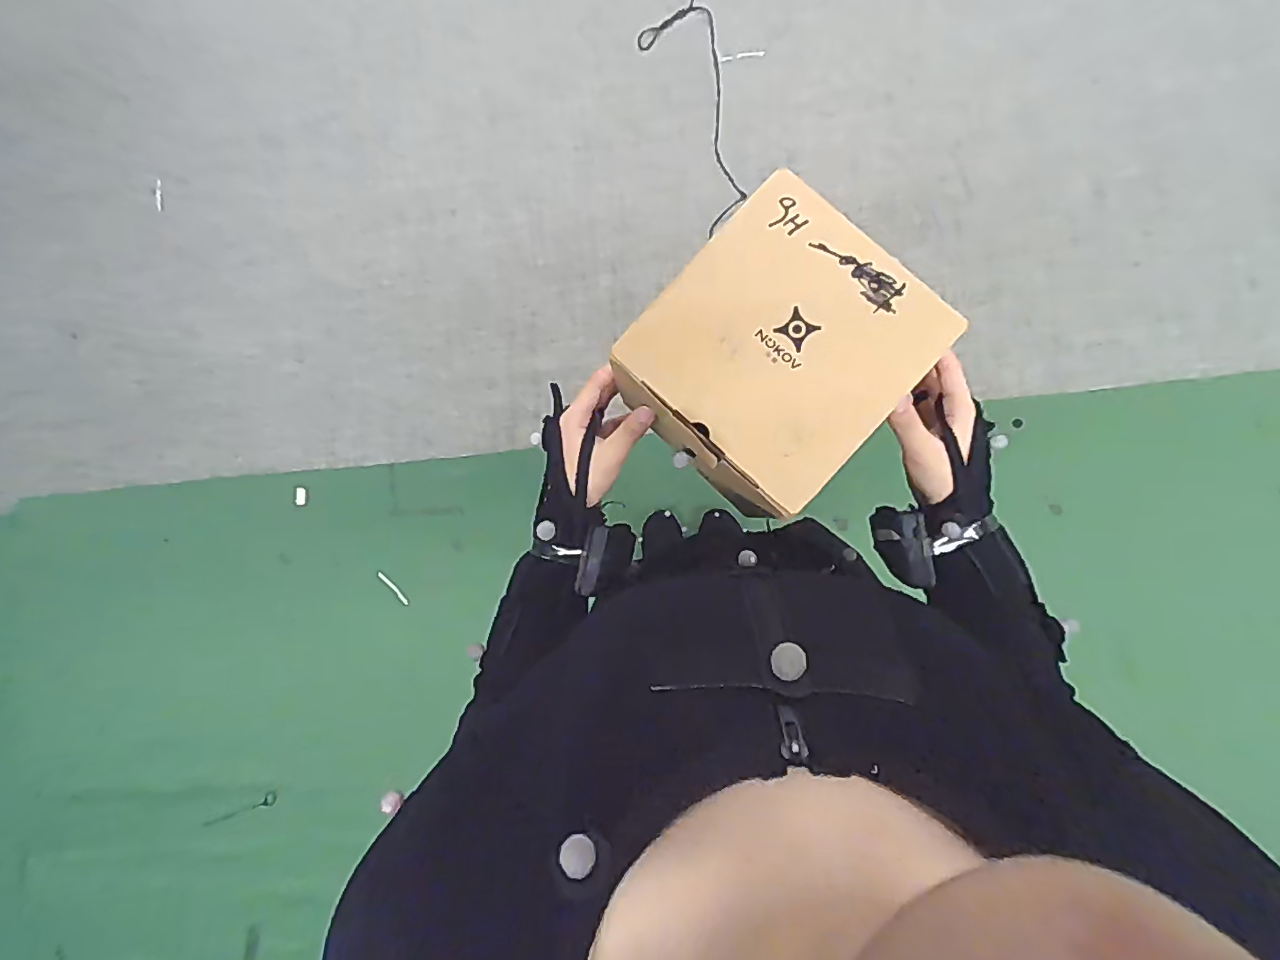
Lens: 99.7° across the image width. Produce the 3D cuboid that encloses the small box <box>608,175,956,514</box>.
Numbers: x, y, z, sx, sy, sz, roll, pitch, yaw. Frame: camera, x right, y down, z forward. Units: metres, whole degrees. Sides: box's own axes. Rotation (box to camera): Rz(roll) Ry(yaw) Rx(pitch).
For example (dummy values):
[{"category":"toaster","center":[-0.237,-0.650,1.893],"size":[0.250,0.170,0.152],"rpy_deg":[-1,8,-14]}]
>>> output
[{"category":"small box","center":[0.099,-0.088,0.441],"size":[0.168,0.176,0.179],"rpy_deg":[43,90,4]}]
